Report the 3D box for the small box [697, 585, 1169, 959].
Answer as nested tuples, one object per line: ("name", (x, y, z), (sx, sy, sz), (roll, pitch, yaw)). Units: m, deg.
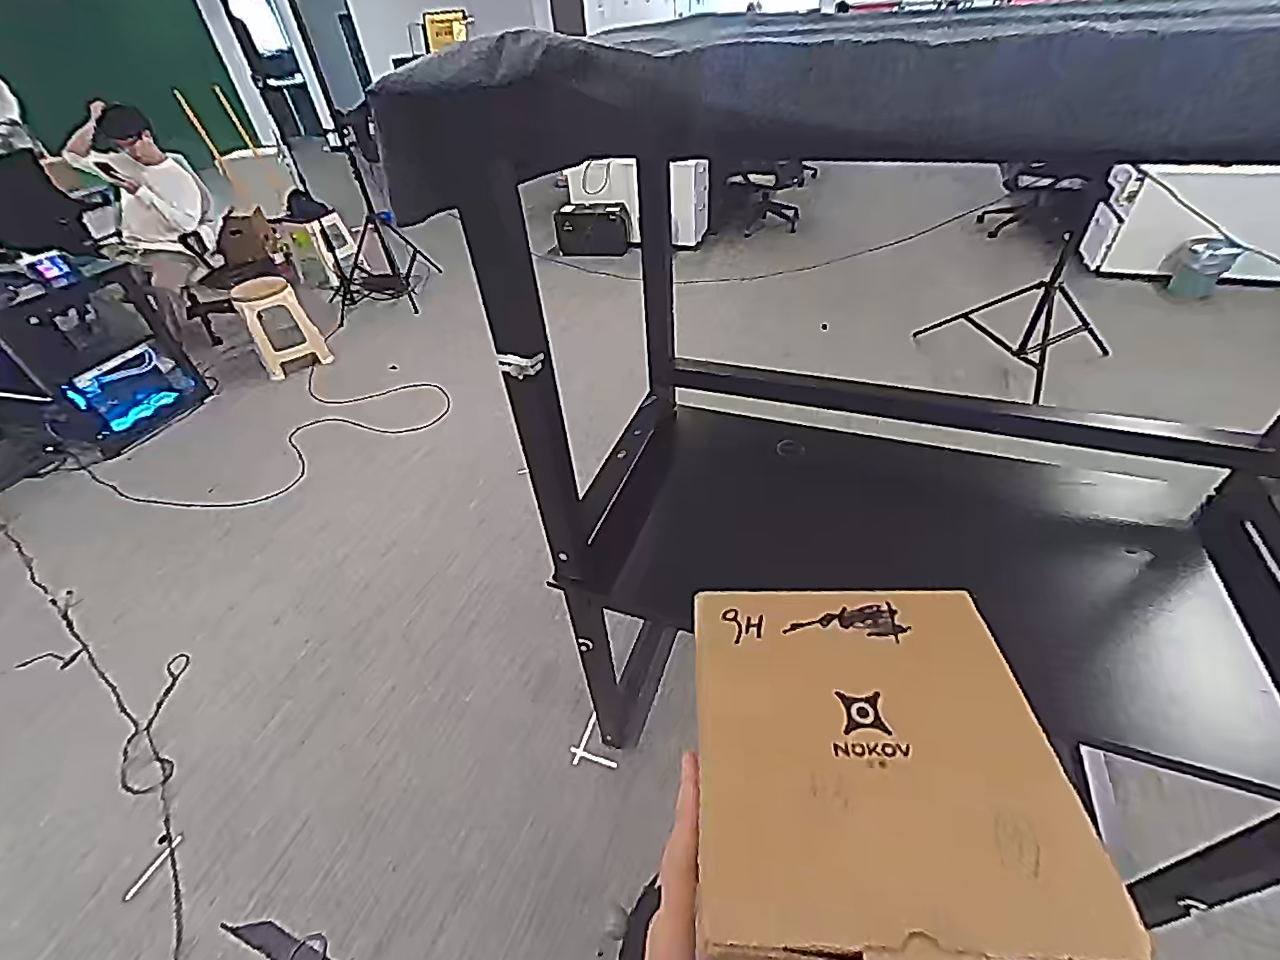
("small box", (0.118, 0.181, 0.311), (0.168, 0.176, 0.179), (-1, 41, 4))
